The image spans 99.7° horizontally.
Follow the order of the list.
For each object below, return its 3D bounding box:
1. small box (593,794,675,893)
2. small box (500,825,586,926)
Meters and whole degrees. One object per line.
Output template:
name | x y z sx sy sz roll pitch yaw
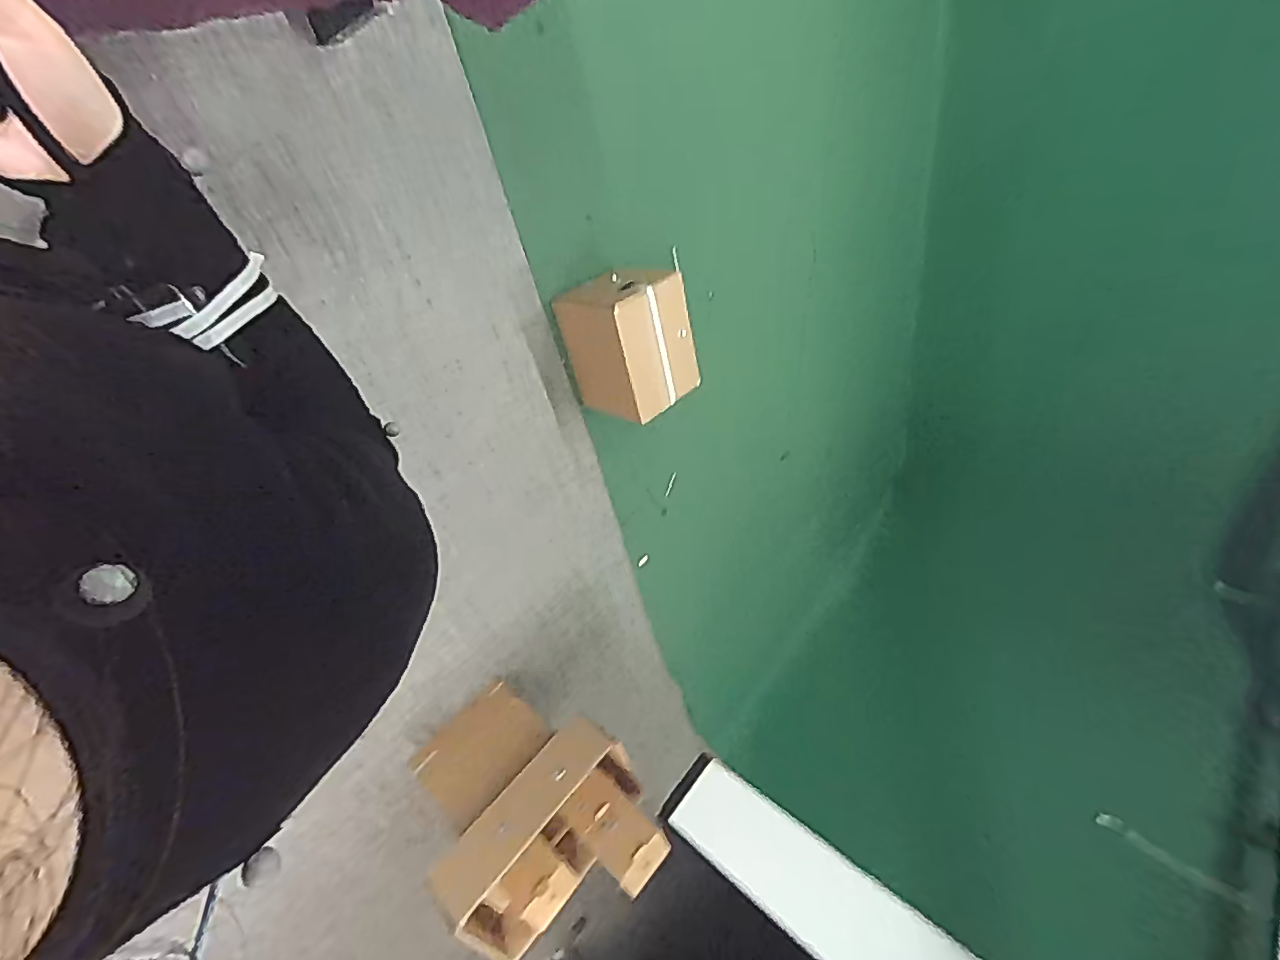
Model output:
small box | -0.018 1.125 1.685 0.168 0.176 0.179 -40 132 -28
small box | -0.300 1.217 1.673 0.168 0.176 0.179 -42 132 -29
